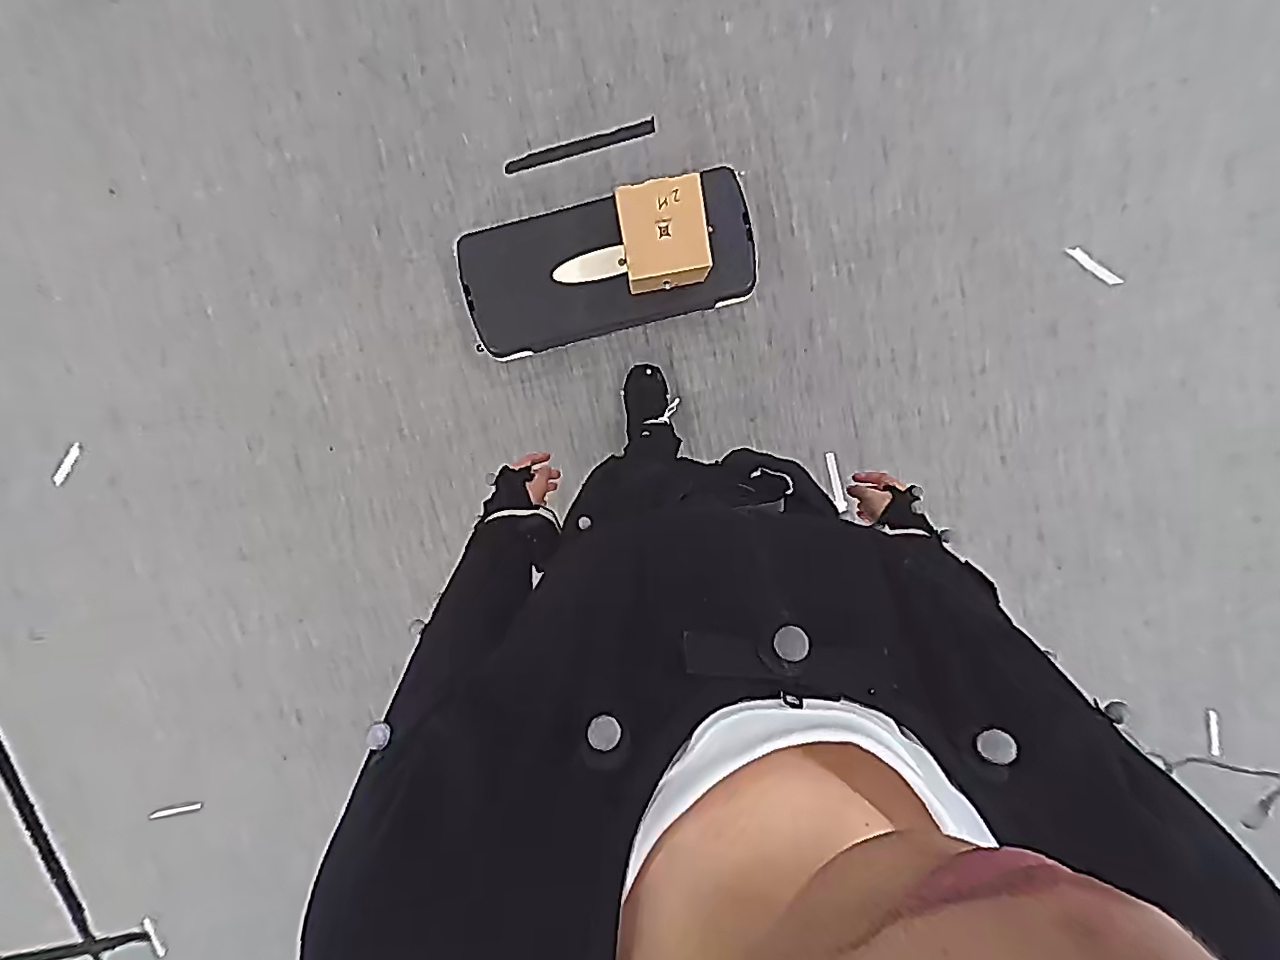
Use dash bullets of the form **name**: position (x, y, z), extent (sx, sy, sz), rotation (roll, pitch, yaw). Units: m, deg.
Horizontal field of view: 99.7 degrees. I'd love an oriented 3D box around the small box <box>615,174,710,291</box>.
- **small box**: position (0.046, -0.499, 1.120), extent (0.168, 0.176, 0.179), rotation (-9, 99, 2)
